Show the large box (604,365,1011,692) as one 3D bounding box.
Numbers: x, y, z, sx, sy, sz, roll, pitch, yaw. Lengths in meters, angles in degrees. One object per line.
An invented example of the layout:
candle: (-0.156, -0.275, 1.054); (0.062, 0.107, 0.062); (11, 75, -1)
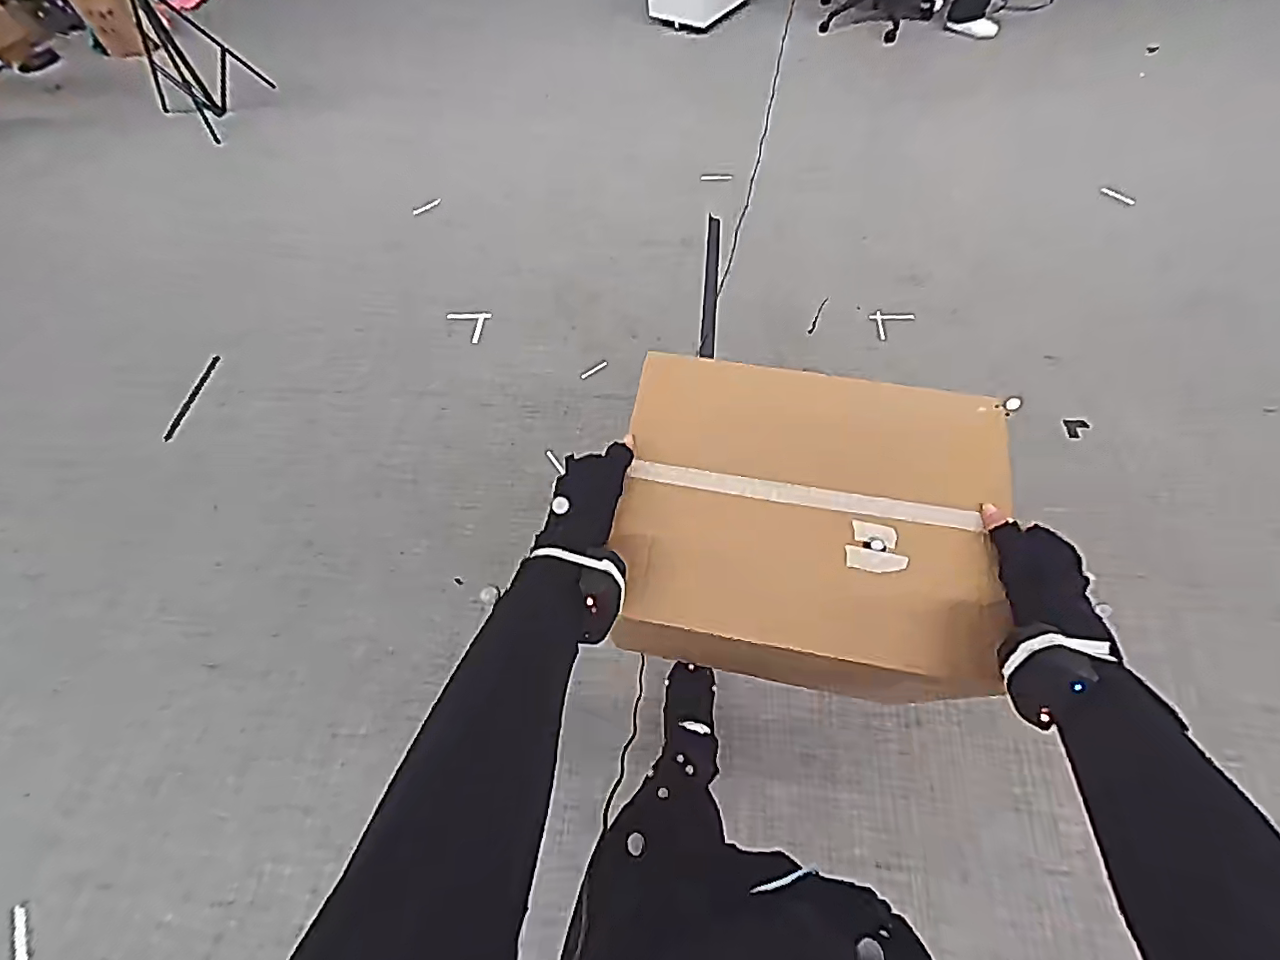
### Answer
large box: (0.185, 0.082, 0.723); (0.408, 0.320, 0.320); (9, 68, 6)
